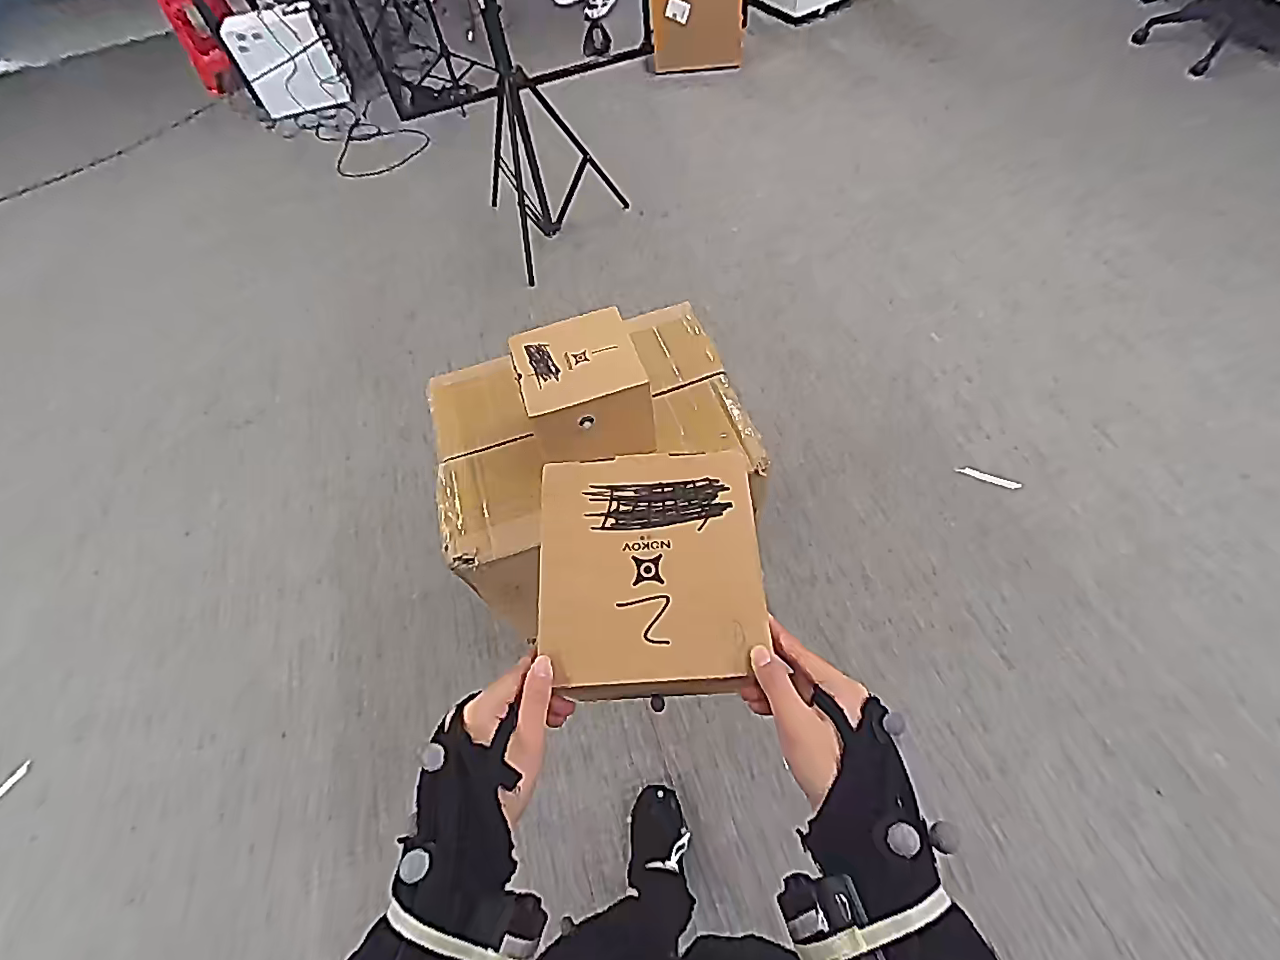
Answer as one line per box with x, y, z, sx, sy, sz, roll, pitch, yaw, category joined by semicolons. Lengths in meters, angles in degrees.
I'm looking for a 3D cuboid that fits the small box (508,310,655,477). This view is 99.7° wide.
-0.086;-0.128;0.845;0.179;0.176;0.168;-18;59;-5;small box
